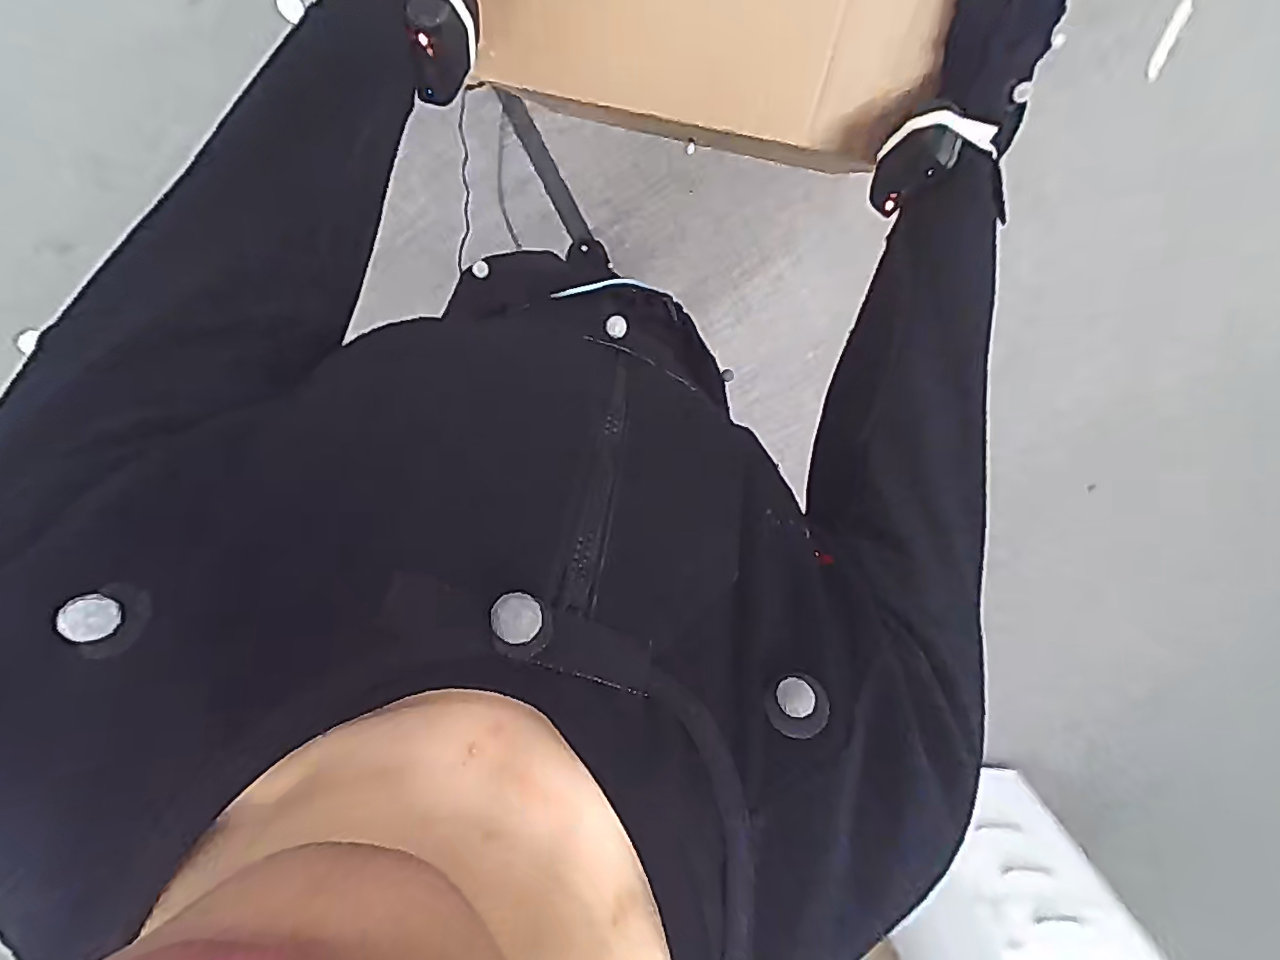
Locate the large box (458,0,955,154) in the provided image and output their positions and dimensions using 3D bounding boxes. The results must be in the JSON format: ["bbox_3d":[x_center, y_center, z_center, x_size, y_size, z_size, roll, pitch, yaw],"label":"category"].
[{"bbox_3d":[0.078,-0.528,0.524,0.408,0.320,0.320,12,119,0],"label":"large box"}]
